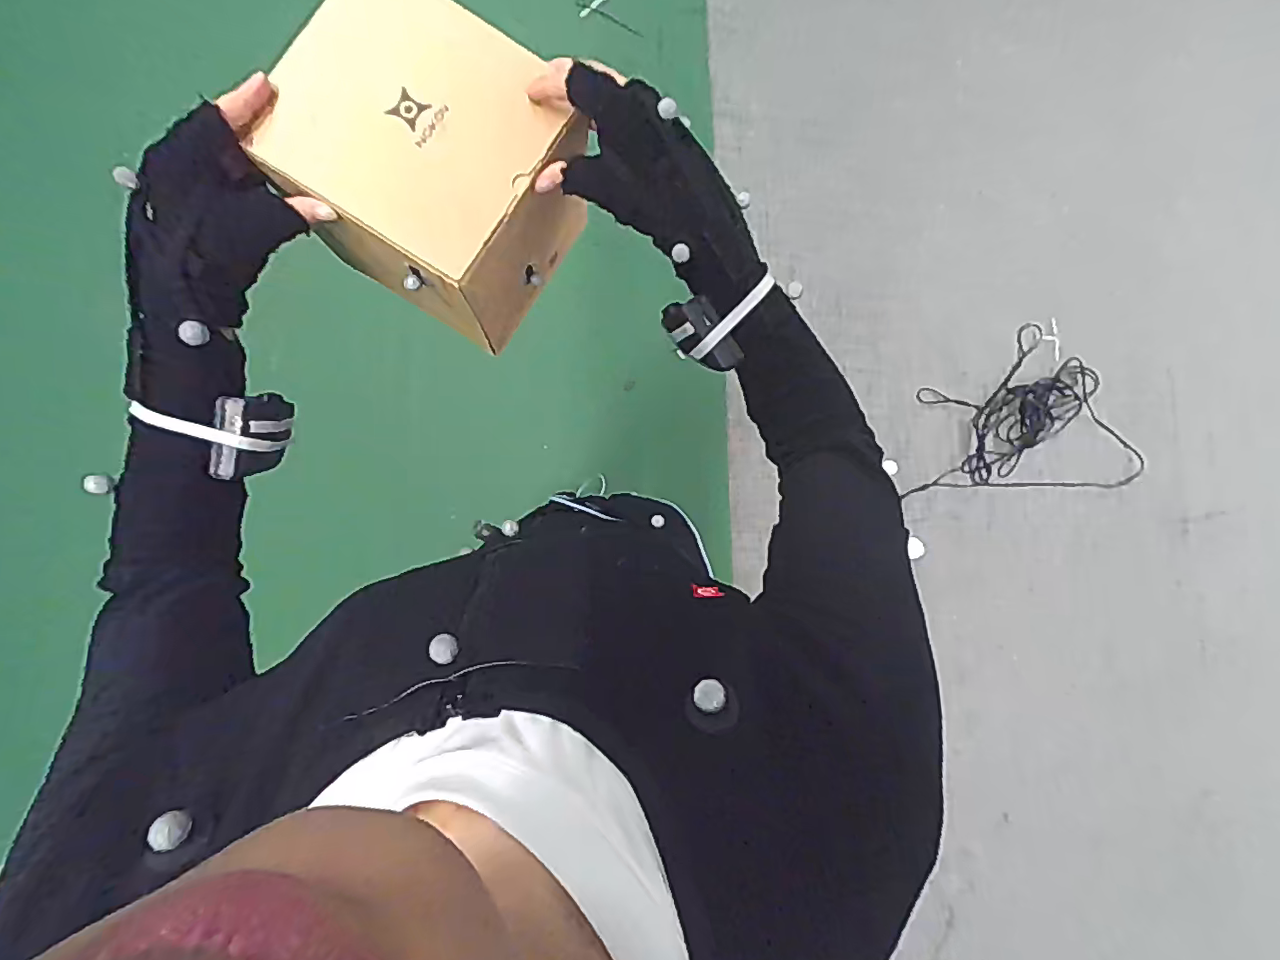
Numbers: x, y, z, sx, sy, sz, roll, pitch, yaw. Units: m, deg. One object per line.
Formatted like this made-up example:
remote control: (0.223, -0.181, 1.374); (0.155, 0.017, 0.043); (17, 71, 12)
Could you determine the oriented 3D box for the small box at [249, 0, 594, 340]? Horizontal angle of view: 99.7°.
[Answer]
small box: (-0.157, -0.245, 0.453); (0.179, 0.176, 0.168); (32, 83, -4)
